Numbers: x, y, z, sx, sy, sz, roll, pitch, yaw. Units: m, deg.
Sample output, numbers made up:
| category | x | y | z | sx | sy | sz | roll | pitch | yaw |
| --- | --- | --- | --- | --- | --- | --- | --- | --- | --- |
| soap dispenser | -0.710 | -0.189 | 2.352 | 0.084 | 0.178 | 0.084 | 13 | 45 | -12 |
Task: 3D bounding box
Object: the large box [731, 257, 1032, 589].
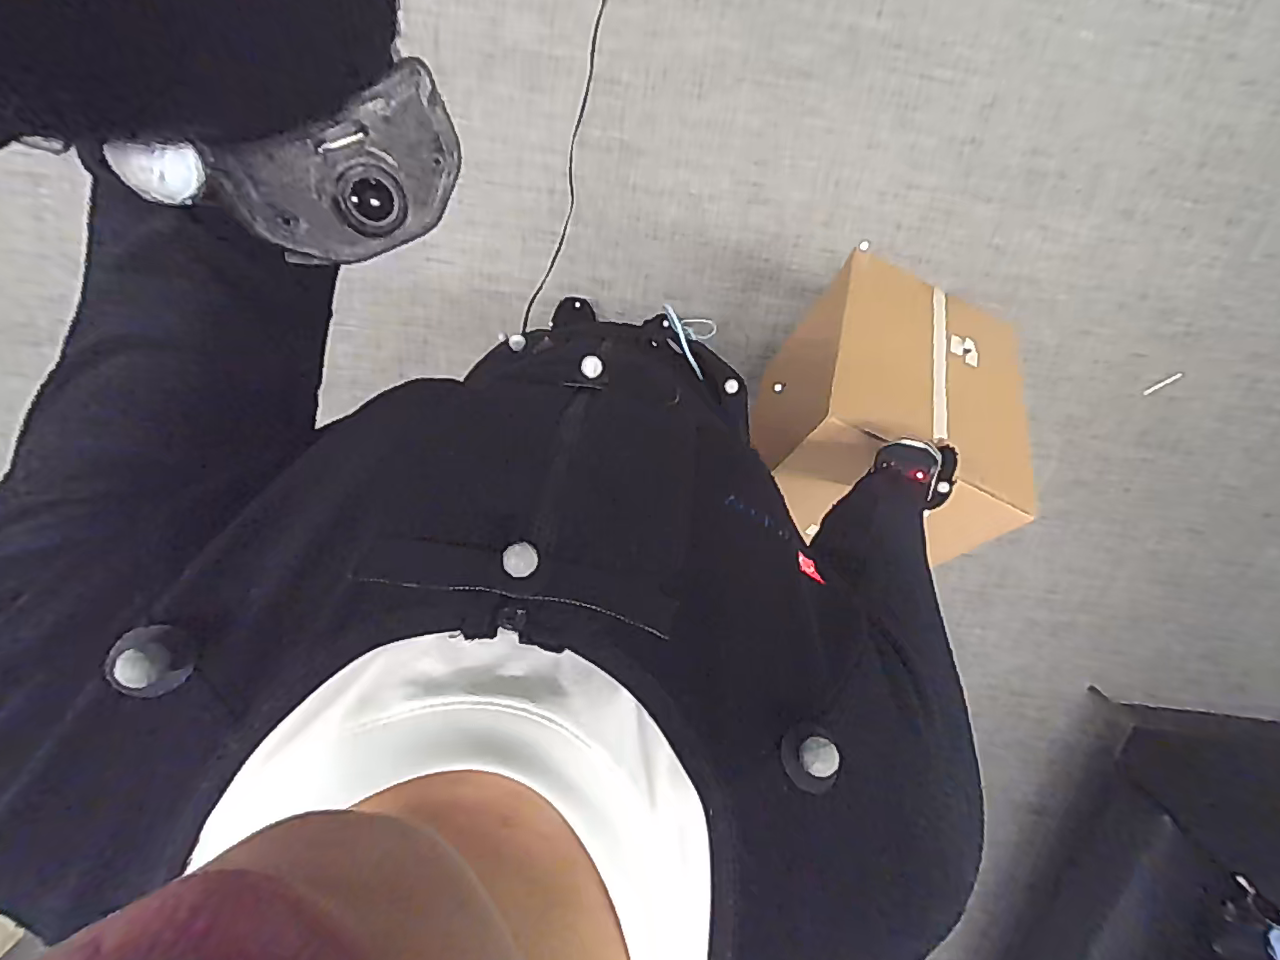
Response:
| category | x | y | z | sx | sy | sz | roll | pitch | yaw |
| --- | --- | --- | --- | --- | --- | --- | --- | --- | --- |
| large box | 0.387 | -0.088 | 0.926 | 0.320 | 0.408 | 0.320 | 26 | 145 | -5 |
